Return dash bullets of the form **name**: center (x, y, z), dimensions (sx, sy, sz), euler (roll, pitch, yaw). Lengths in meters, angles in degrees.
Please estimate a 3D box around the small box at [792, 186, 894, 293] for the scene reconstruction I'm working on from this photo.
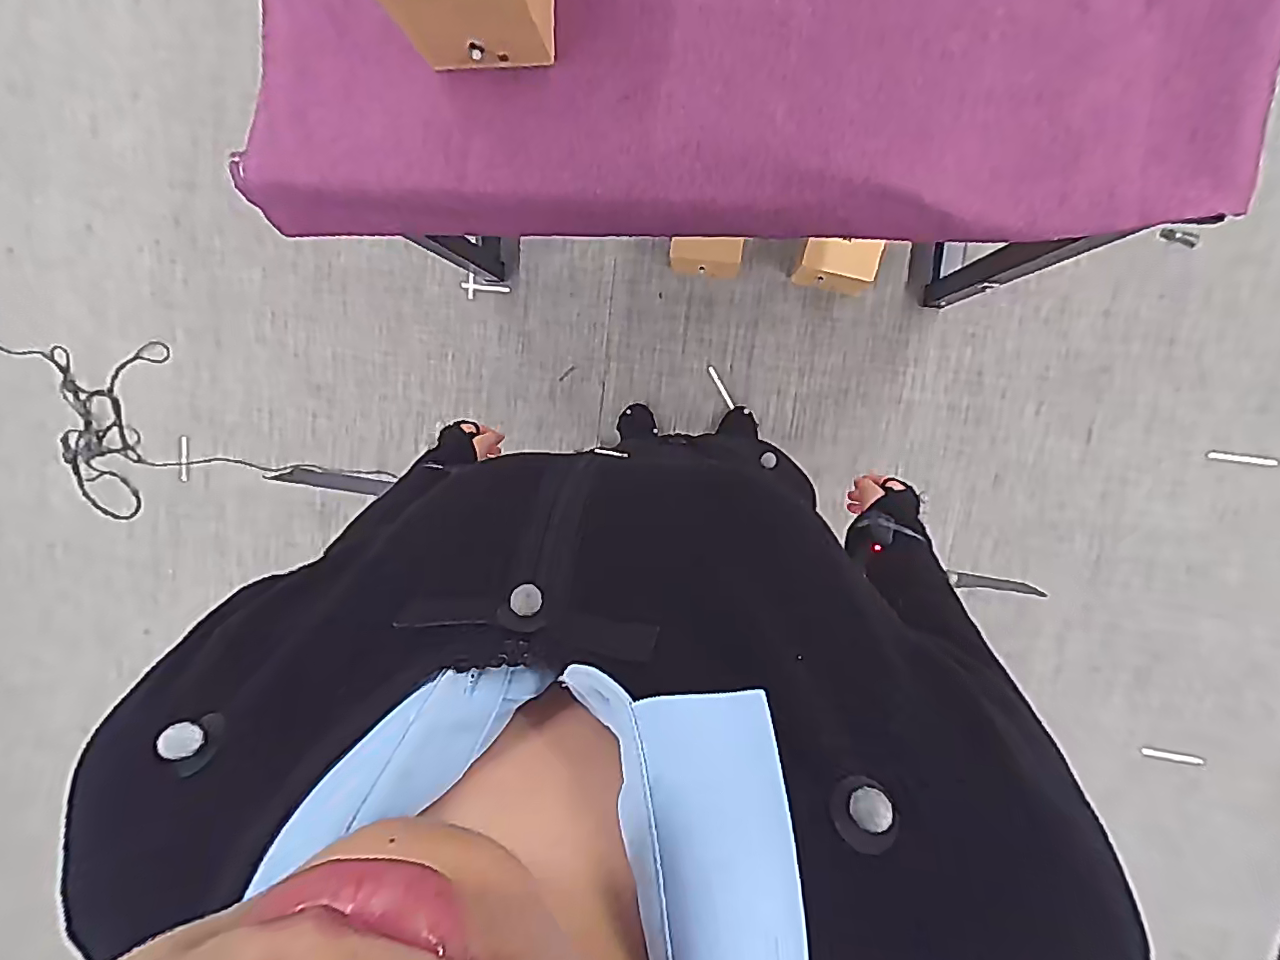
- **small box**: center (0.470, -0.559, 1.283), dimensions (0.168, 0.176, 0.179), euler (15, 99, 4)

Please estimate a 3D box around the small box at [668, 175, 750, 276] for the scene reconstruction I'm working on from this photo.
- **small box**: center (0.165, -0.605, 1.308), dimensions (0.168, 0.176, 0.179), euler (8, 99, 4)
